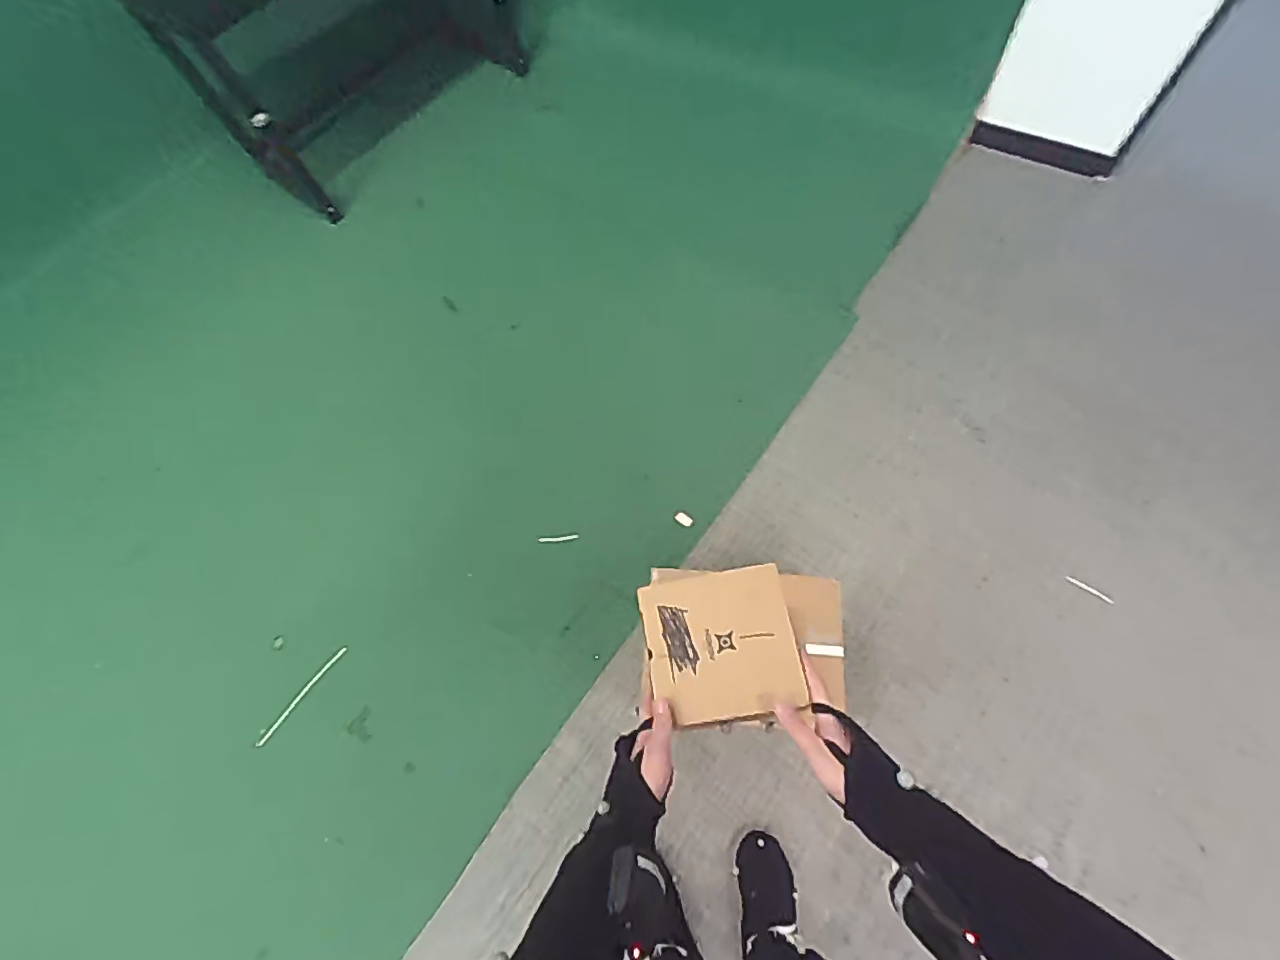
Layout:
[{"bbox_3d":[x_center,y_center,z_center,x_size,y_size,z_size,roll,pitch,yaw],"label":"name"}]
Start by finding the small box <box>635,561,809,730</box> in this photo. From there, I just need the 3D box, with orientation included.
[{"bbox_3d":[0.103,0.219,0.689,0.179,0.176,0.168,-12,64,6],"label":"small box"}]

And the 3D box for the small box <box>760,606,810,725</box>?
[{"bbox_3d":[0.169,0.291,0.871,0.179,0.176,0.168,4,67,9],"label":"small box"}]
